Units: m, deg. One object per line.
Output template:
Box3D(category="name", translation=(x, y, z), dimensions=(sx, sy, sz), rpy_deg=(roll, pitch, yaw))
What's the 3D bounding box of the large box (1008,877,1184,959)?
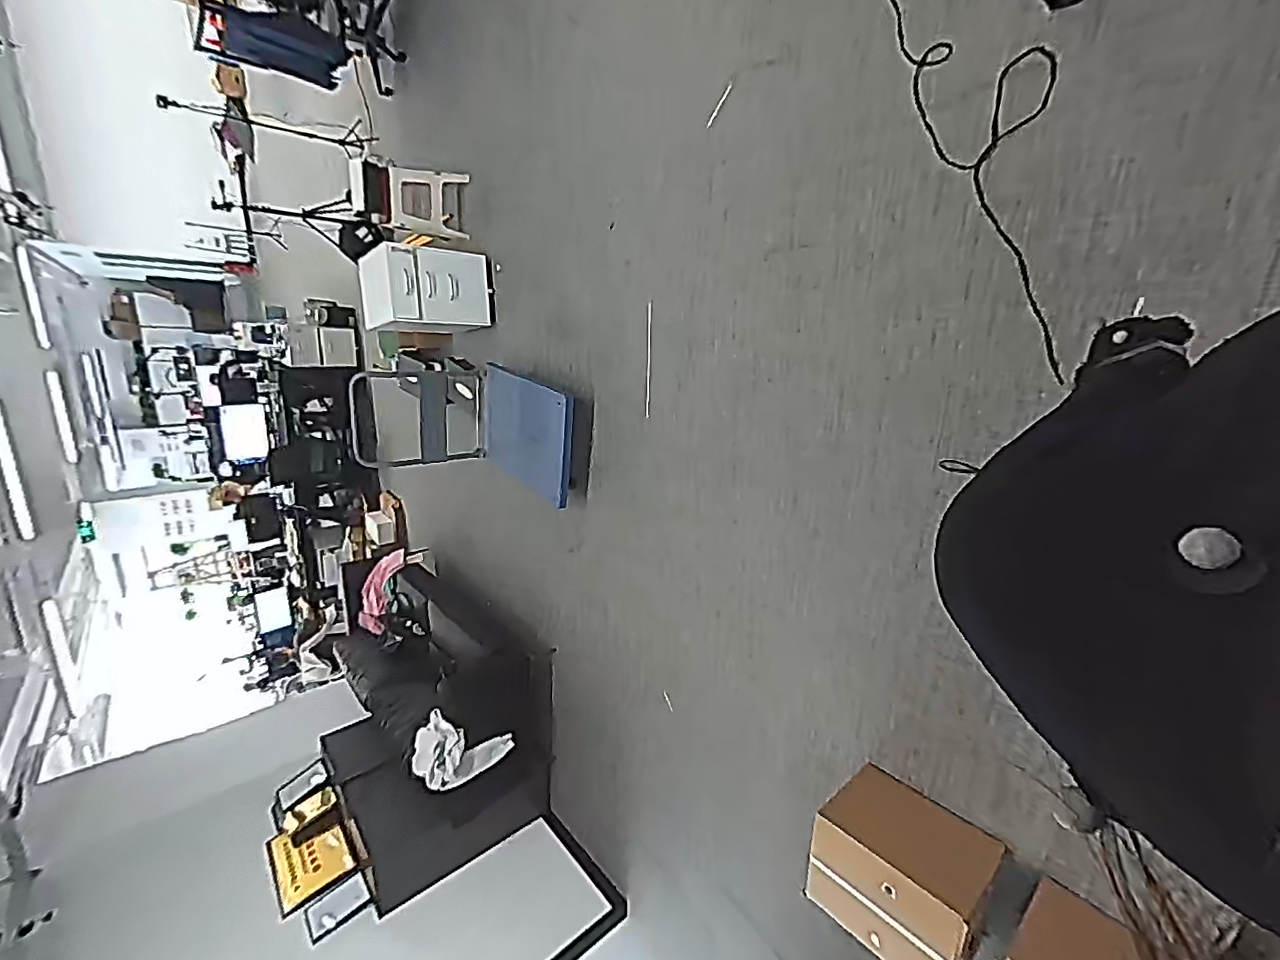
Box3D(category="large box", translation=(1.065, 1.233, 1.209), dimensions=(0.408, 0.320, 0.320), rpy_deg=(19, 112, 44))
